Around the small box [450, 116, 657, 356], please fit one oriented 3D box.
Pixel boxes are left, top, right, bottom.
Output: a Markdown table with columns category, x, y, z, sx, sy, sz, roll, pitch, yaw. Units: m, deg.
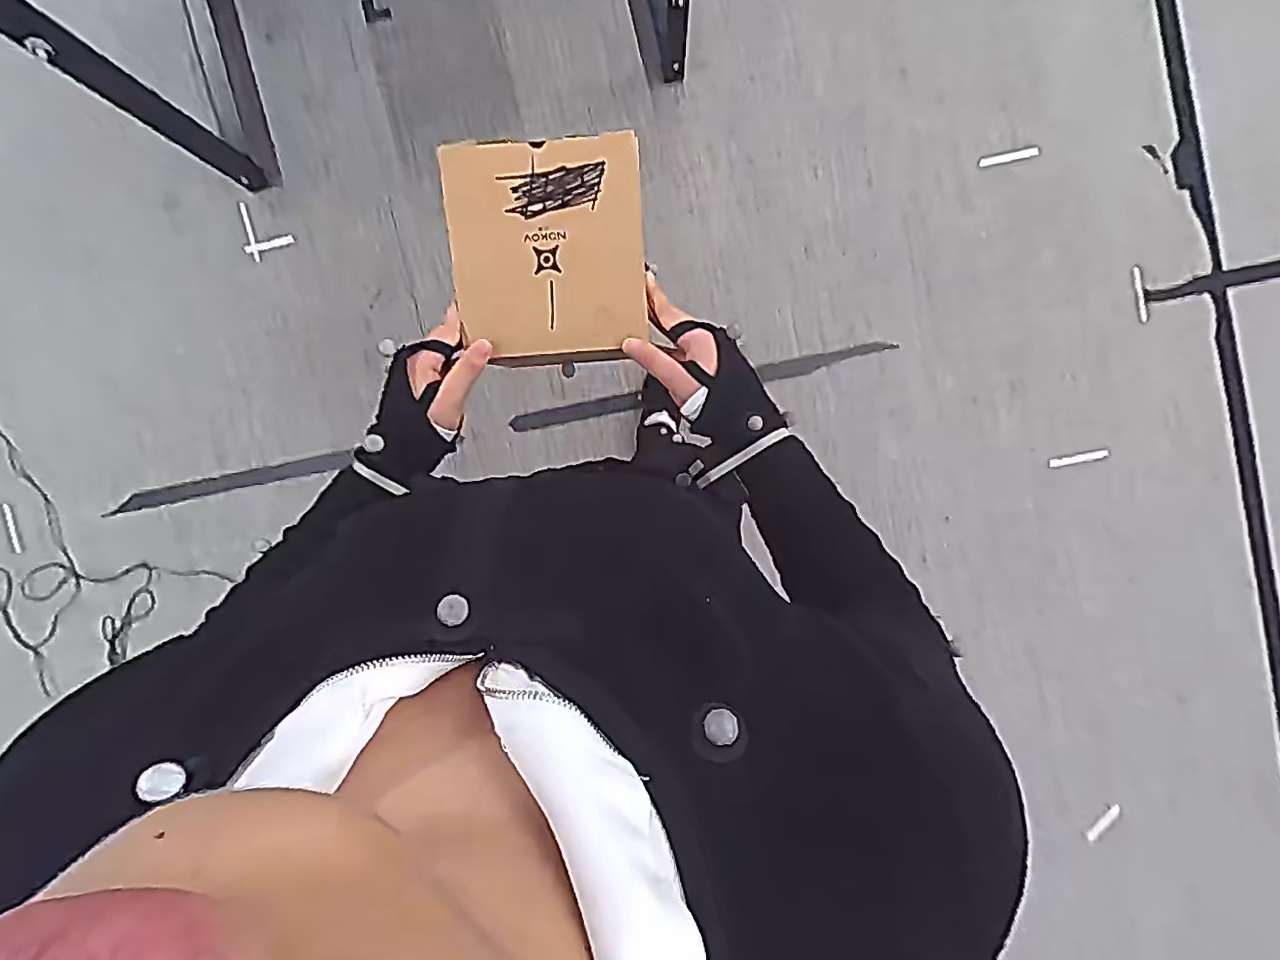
| category | x | y | z | sx | sy | sz | roll | pitch | yaw |
| --- | --- | --- | --- | --- | --- | --- | --- | --- | --- |
| small box | -0.073 | -0.224 | 0.540 | 0.168 | 0.176 | 0.179 | -4 | 100 | 1 |
